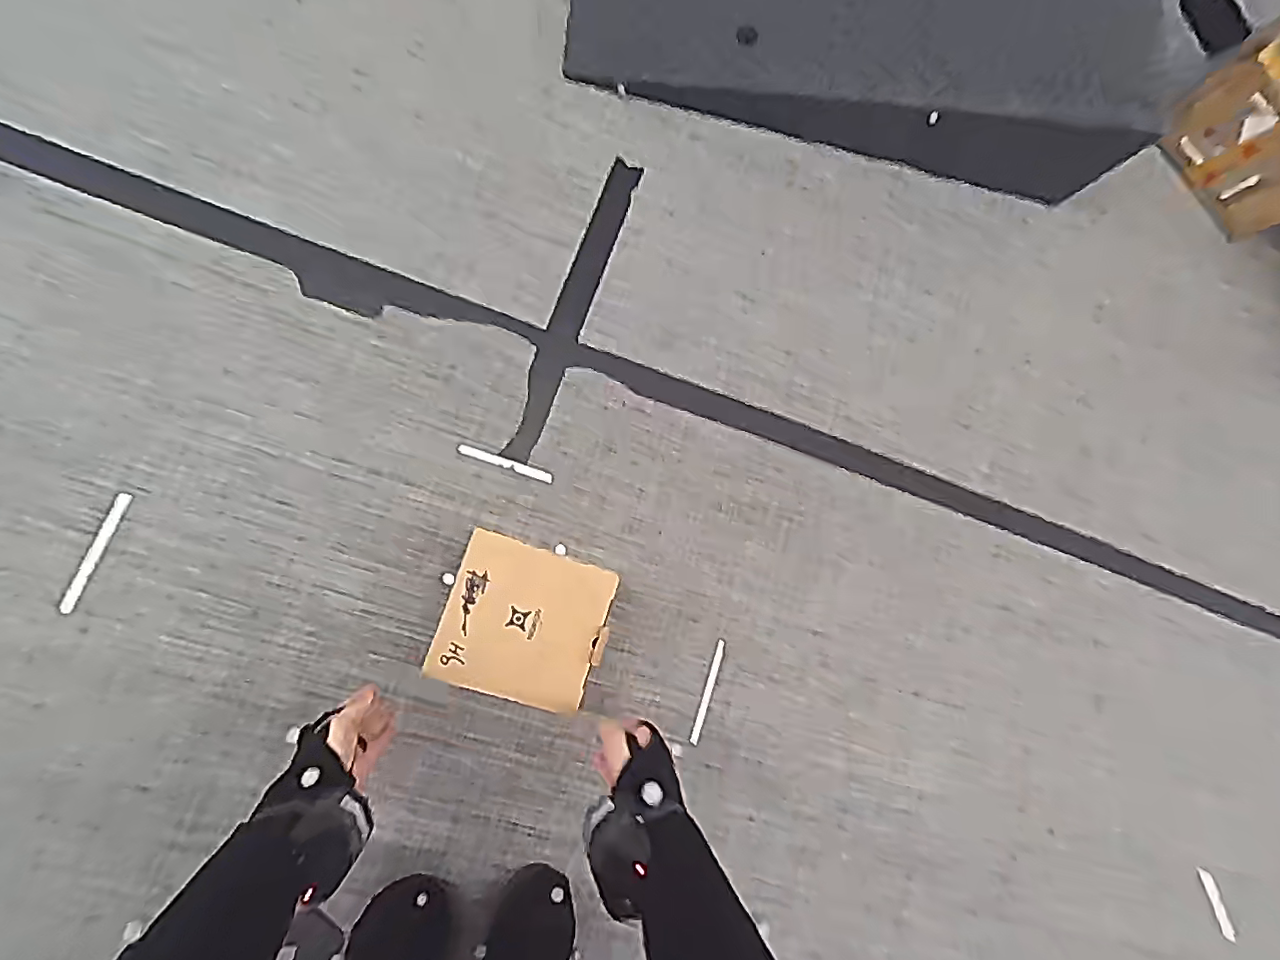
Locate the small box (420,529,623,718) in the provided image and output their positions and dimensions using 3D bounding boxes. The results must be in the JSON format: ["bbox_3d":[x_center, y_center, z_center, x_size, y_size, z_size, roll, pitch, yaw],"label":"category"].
[{"bbox_3d":[-0.142,0.164,0.664,0.179,0.176,0.168,21,79,-10],"label":"small box"}]
